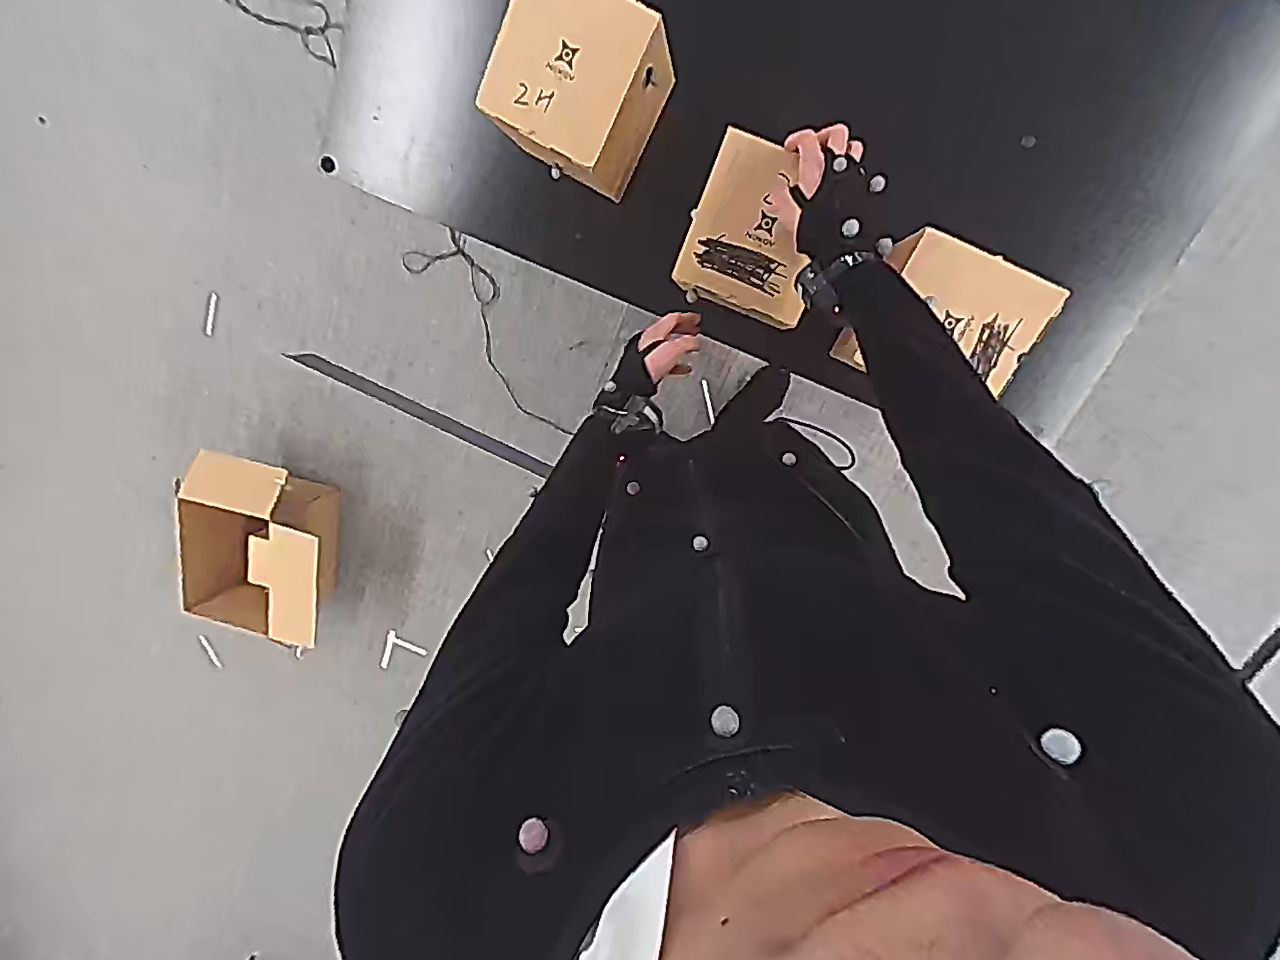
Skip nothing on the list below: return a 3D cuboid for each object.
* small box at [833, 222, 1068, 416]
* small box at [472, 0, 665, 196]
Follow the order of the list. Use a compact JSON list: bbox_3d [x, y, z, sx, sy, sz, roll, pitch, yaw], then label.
[{"bbox_3d":[0.377,-0.204,0.698,0.179,0.176,0.168,27,108,3],"label":"small box"},{"bbox_3d":[-0.079,-0.500,0.690,0.168,0.176,0.179,29,109,1],"label":"small box"}]
